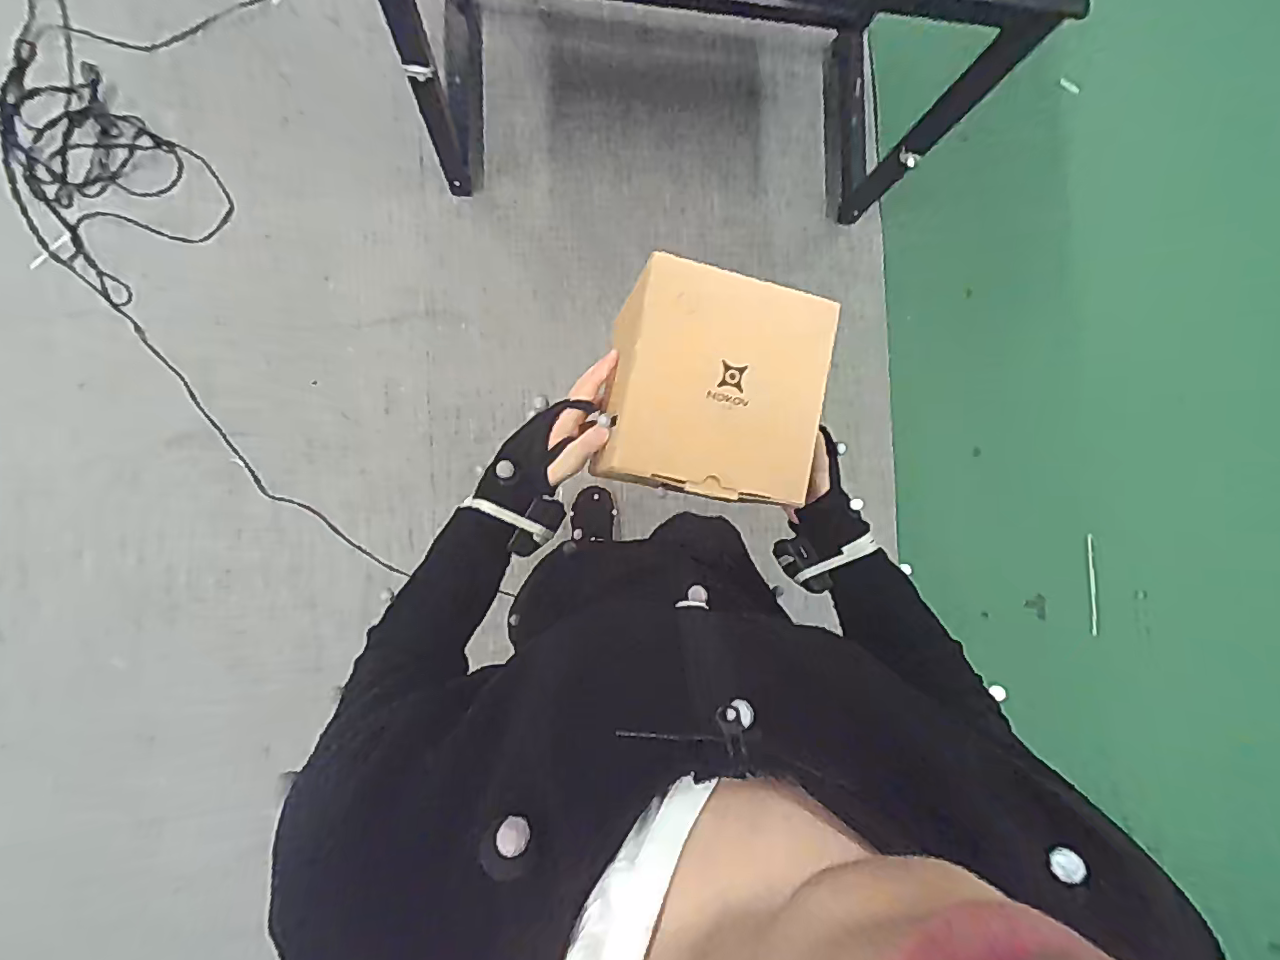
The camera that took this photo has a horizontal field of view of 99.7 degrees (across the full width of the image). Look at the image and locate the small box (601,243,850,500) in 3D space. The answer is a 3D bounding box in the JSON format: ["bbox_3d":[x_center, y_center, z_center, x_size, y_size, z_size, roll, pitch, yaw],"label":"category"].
[{"bbox_3d":[0.065,-0.083,0.505,0.168,0.176,0.179,11,88,-11],"label":"small box"}]
